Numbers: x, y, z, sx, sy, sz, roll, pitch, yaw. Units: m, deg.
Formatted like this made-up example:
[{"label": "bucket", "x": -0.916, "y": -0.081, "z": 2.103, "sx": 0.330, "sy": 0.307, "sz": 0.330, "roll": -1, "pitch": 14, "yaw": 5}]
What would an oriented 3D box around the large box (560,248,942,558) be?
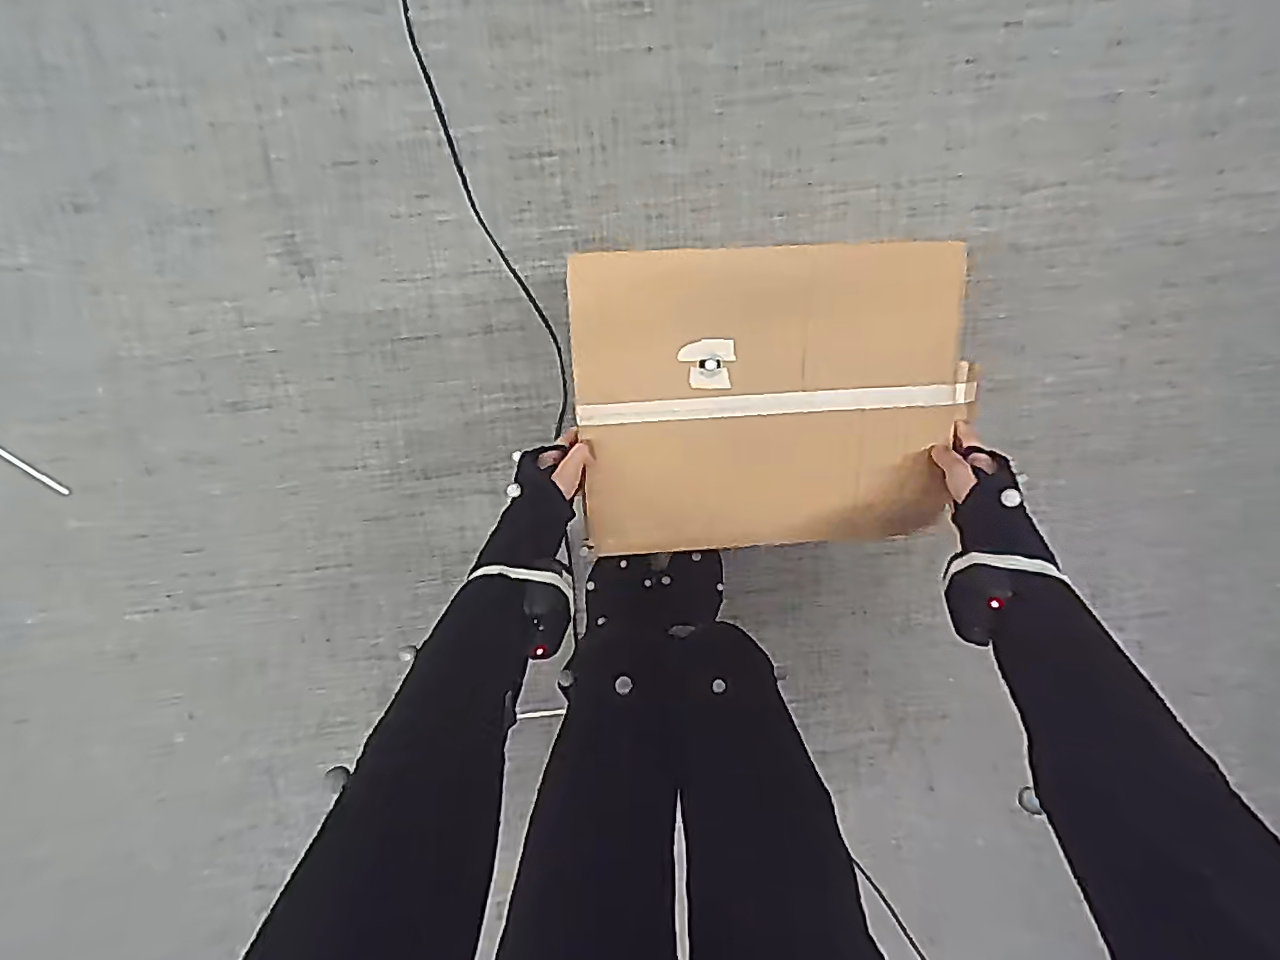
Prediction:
[{"label": "large box", "x": 0.118, "y": -0.110, "z": 0.729, "sx": 0.408, "sy": 0.320, "sz": 0.320, "roll": -4, "pitch": 103, "yaw": -3}]
